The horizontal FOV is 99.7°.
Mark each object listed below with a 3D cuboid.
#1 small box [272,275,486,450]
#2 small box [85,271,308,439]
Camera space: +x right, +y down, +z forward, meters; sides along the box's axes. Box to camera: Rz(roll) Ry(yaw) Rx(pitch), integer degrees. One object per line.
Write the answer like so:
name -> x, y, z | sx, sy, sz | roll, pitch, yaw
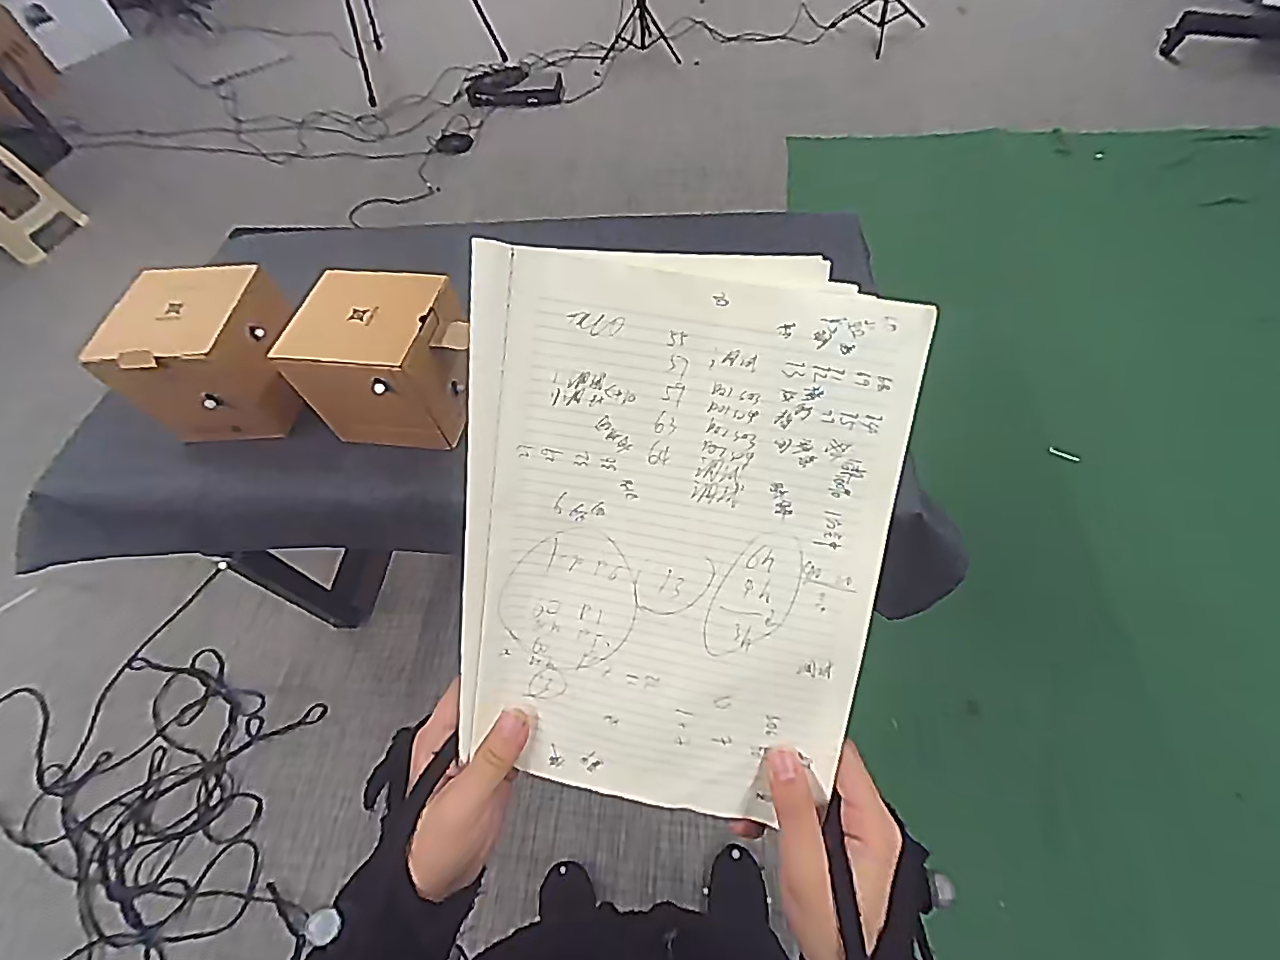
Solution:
small box -> -0.337, -0.156, 0.740 | 0.179, 0.176, 0.168 | 5, 57, 7
small box -> -0.595, -0.169, 0.769 | 0.168, 0.176, 0.179 | -2, 56, 2
